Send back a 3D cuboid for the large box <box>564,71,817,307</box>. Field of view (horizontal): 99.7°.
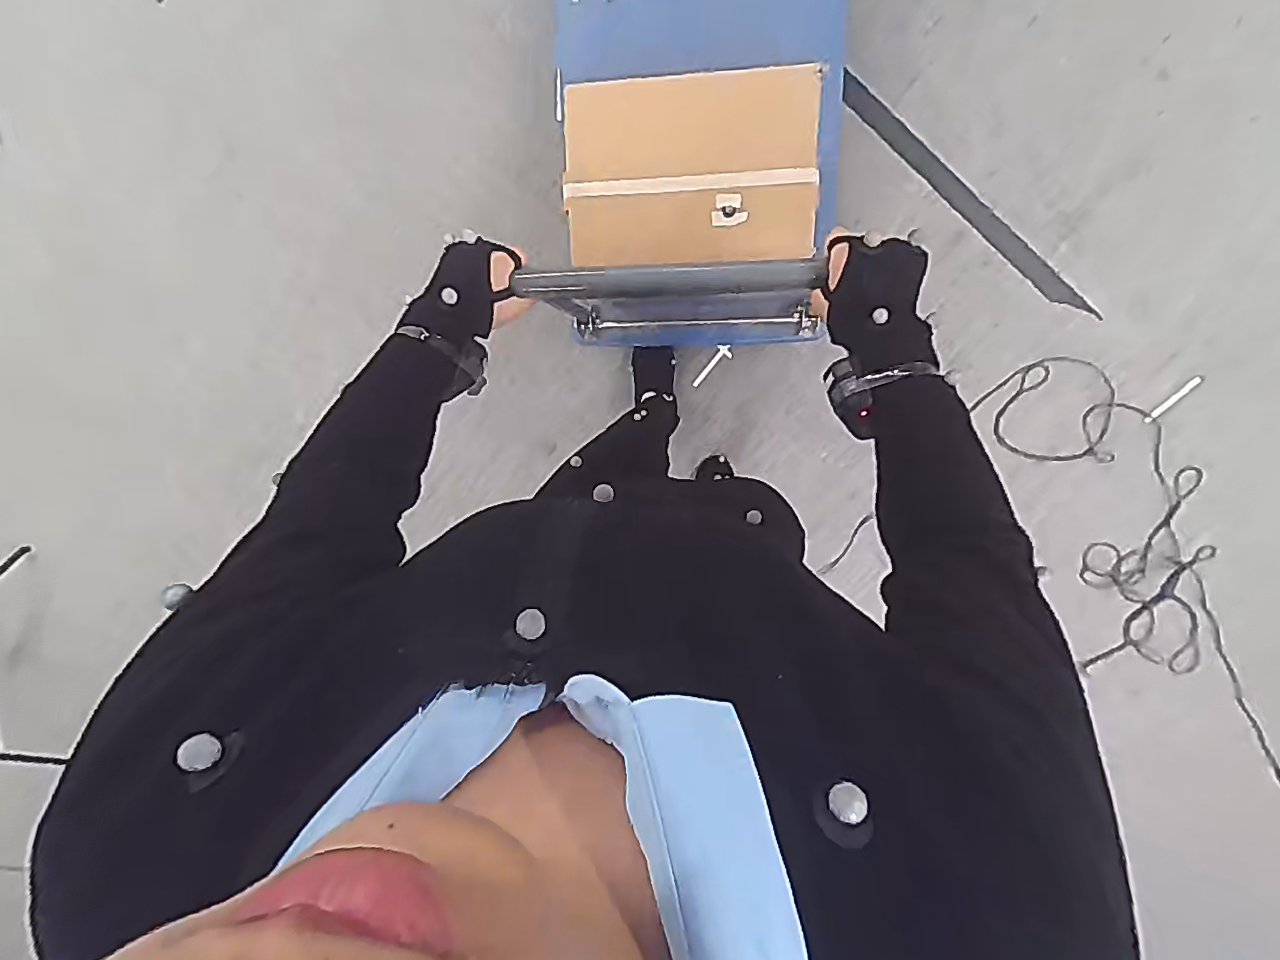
[{"bbox_3d":[0.094,-0.509,1.026,0.408,0.320,0.320,1,104,7],"label":"large box"}]
